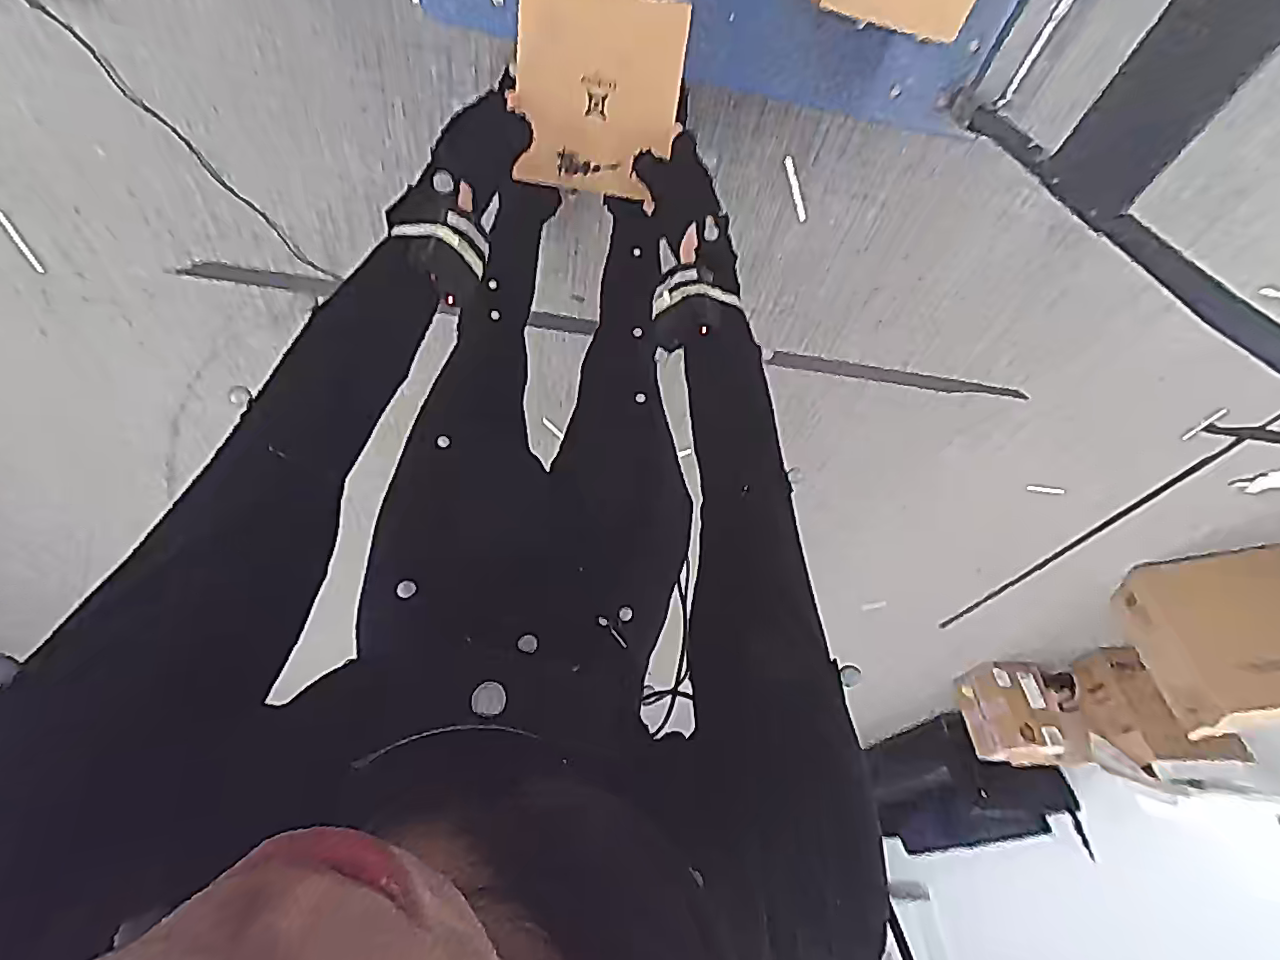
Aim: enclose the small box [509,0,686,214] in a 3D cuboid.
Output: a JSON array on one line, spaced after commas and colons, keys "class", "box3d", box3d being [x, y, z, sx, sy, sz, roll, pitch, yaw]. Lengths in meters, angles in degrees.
[{"class": "small box", "box3d": [-0.056, -0.417, 0.622, 0.168, 0.176, 0.179, 5, 117, -10]}]
